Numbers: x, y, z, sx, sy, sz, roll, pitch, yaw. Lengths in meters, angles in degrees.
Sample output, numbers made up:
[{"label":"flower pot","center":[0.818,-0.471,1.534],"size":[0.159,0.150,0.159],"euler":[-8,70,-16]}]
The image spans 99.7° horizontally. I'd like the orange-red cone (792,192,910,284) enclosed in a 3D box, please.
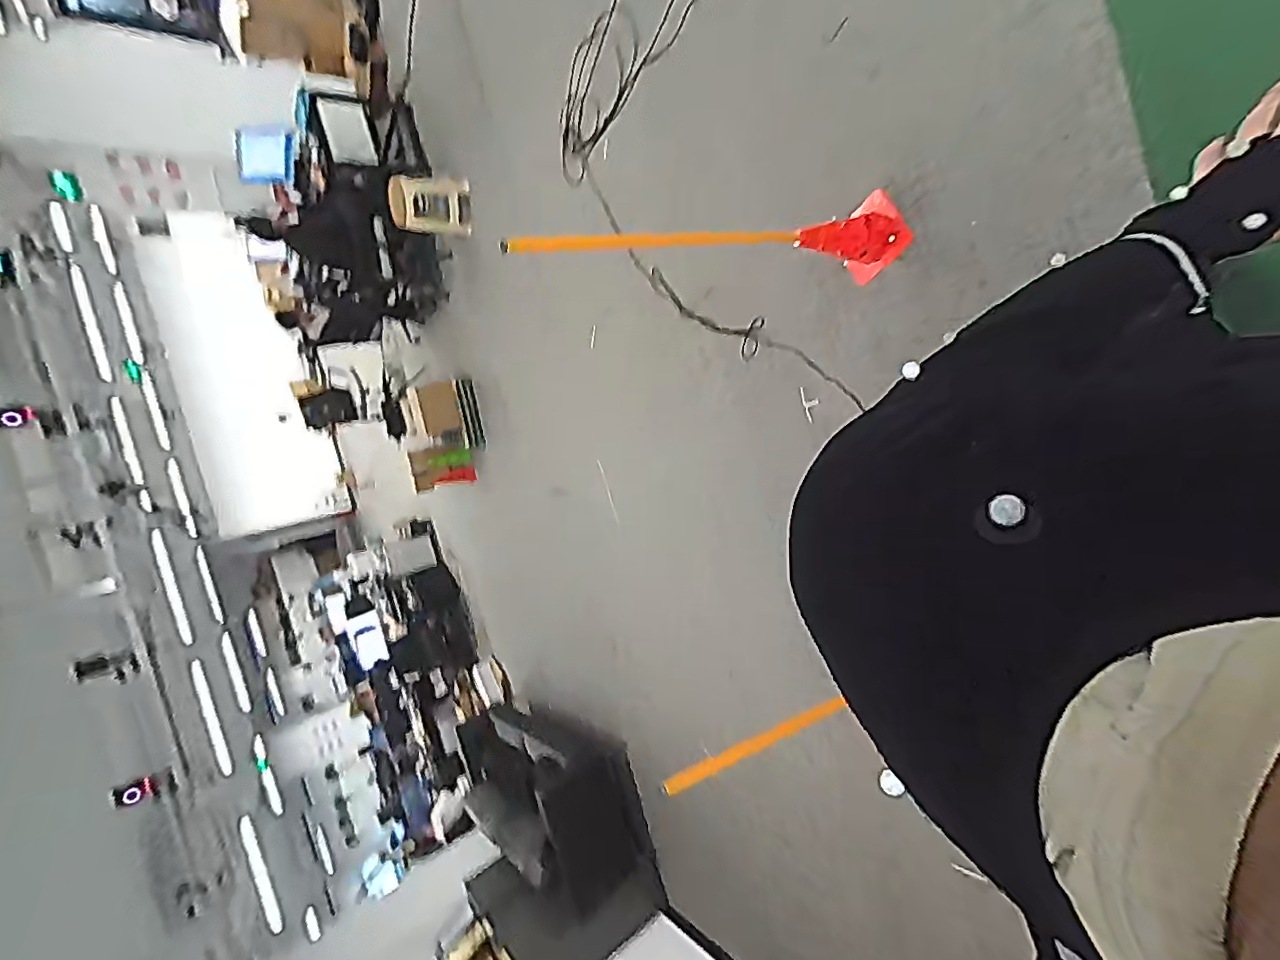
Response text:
[{"label":"orange-red cone","center":[0.554,-0.685,1.527],"size":[0.198,0.360,0.199],"euler":[-39,71,53]}]
